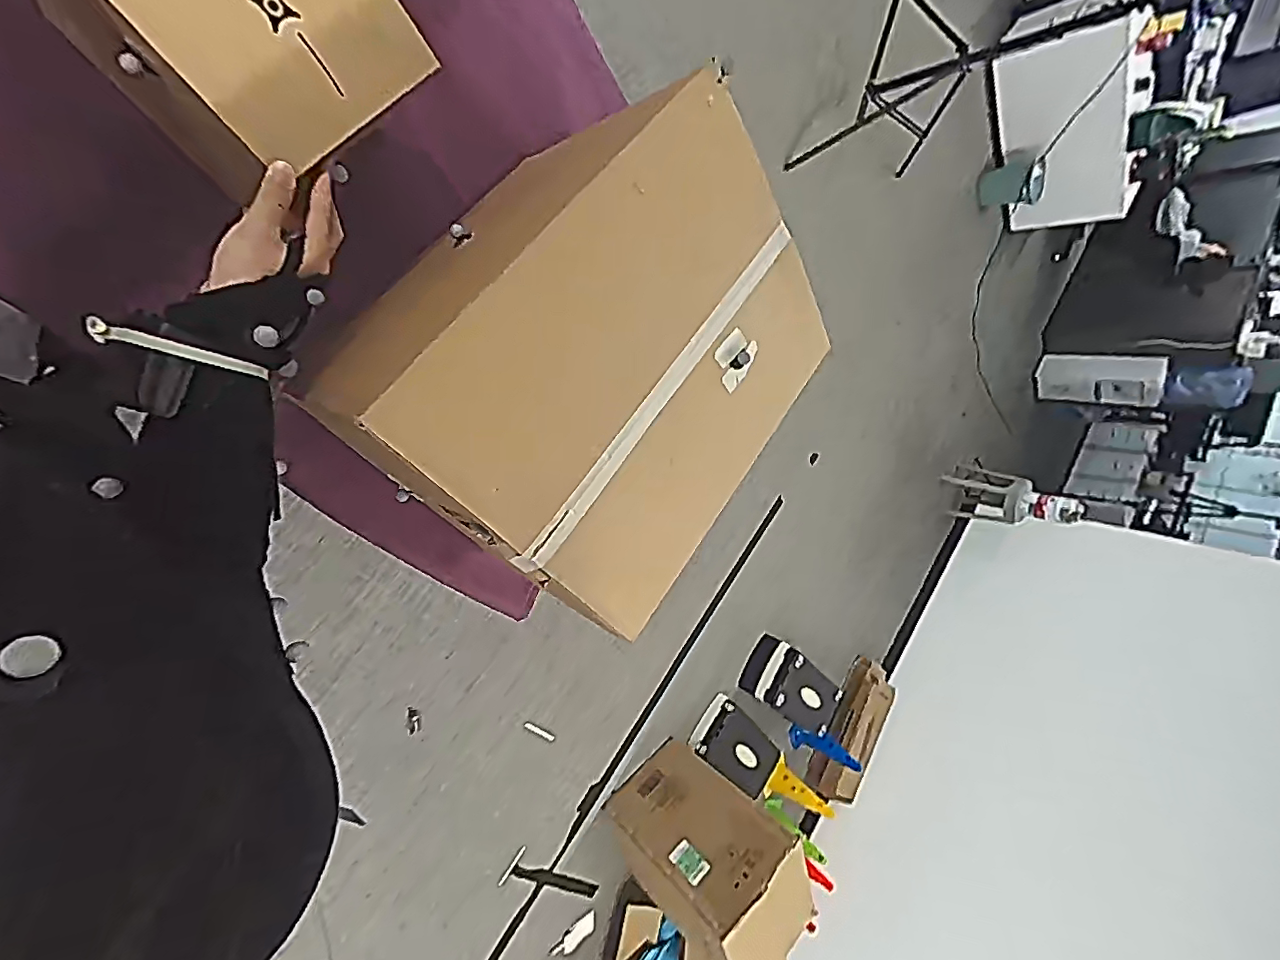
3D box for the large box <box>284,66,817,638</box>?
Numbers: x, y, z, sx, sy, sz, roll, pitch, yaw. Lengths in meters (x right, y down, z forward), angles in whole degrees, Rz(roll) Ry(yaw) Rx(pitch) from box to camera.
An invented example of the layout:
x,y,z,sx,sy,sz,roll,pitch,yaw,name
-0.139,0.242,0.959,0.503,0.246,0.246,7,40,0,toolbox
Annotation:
x,y,z,sx,sy,sz,roll,pitch,yaw,name
-0.079,-0.119,0.580,0.408,0.320,0.320,-54,131,-18,large box
